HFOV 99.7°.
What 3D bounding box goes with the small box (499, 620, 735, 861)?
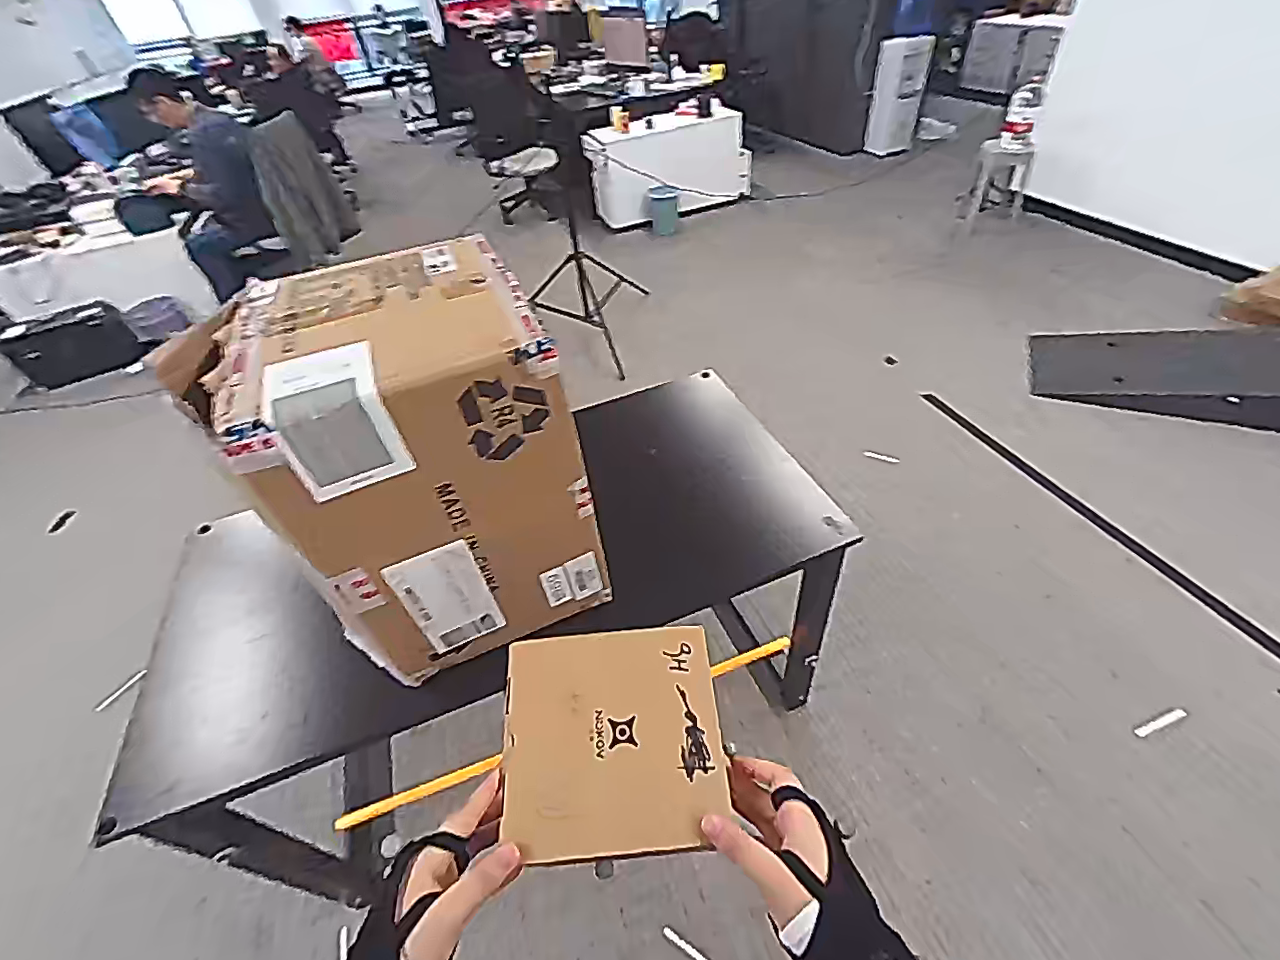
[{"bbox_3d":[-0.016,0.245,0.500,0.179,0.176,0.168,-5,53,0],"label":"small box"}]
